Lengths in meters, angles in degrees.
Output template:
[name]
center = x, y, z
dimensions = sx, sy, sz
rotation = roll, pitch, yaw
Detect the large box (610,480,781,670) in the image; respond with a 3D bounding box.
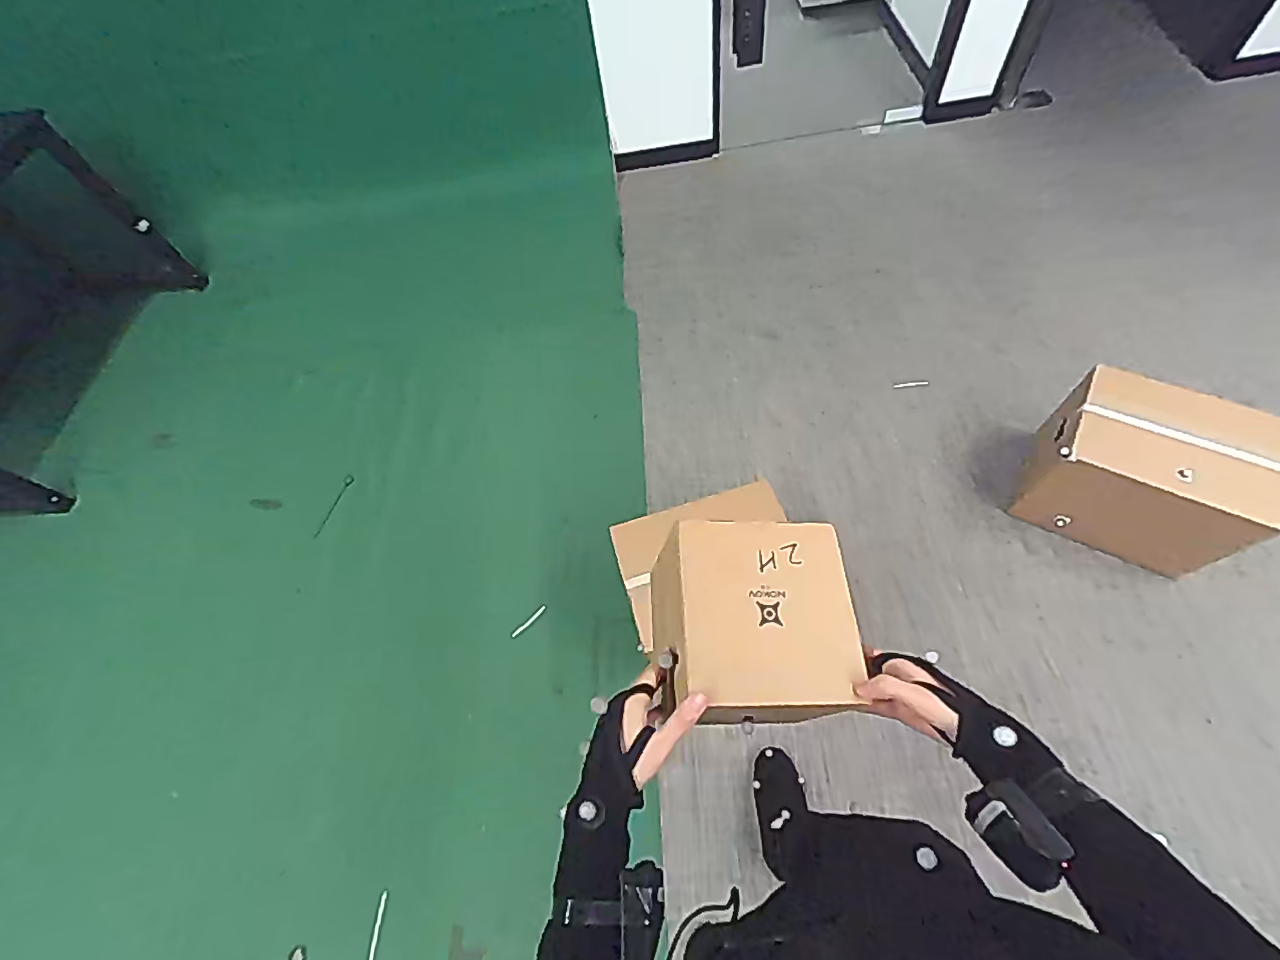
[large box]
center = 0.177, 0.254, 1.350
dimensions = 0.408, 0.320, 0.320
rotation = -17, 59, -1

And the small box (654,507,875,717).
[small box]
center = 0.110, 0.146, 0.565
dimensions = 0.168, 0.176, 0.179
rotation = 4, 59, -9
